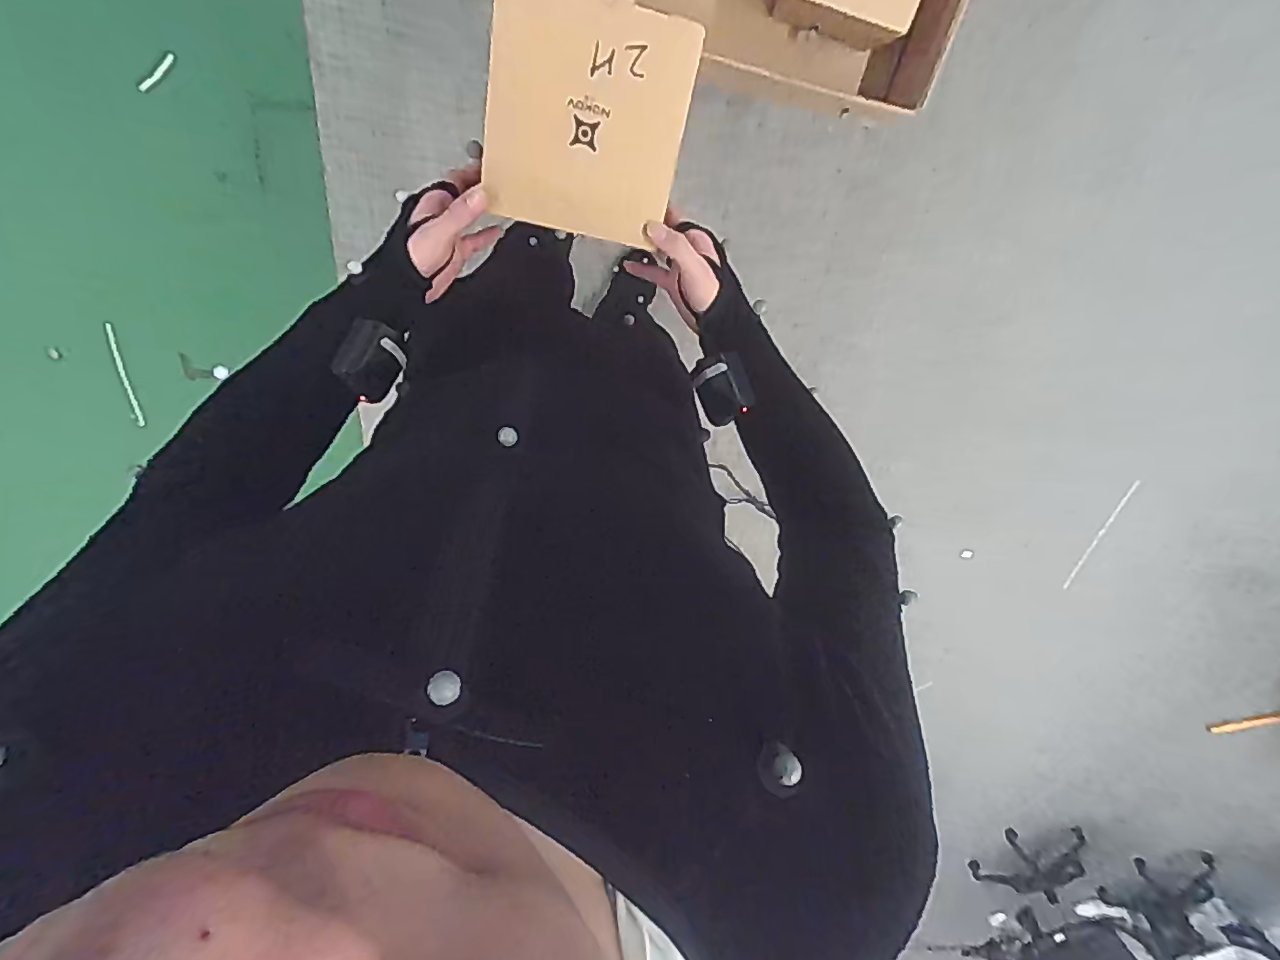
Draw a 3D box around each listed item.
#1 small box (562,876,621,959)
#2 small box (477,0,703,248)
[{"bbox_3d":[-0.142,1.328,1.629,0.168,0.176,0.179,1,122,-2],"label":"small box"},{"bbox_3d":[-0.056,-0.344,0.523,0.168,0.176,0.179,7,118,-14],"label":"small box"}]
